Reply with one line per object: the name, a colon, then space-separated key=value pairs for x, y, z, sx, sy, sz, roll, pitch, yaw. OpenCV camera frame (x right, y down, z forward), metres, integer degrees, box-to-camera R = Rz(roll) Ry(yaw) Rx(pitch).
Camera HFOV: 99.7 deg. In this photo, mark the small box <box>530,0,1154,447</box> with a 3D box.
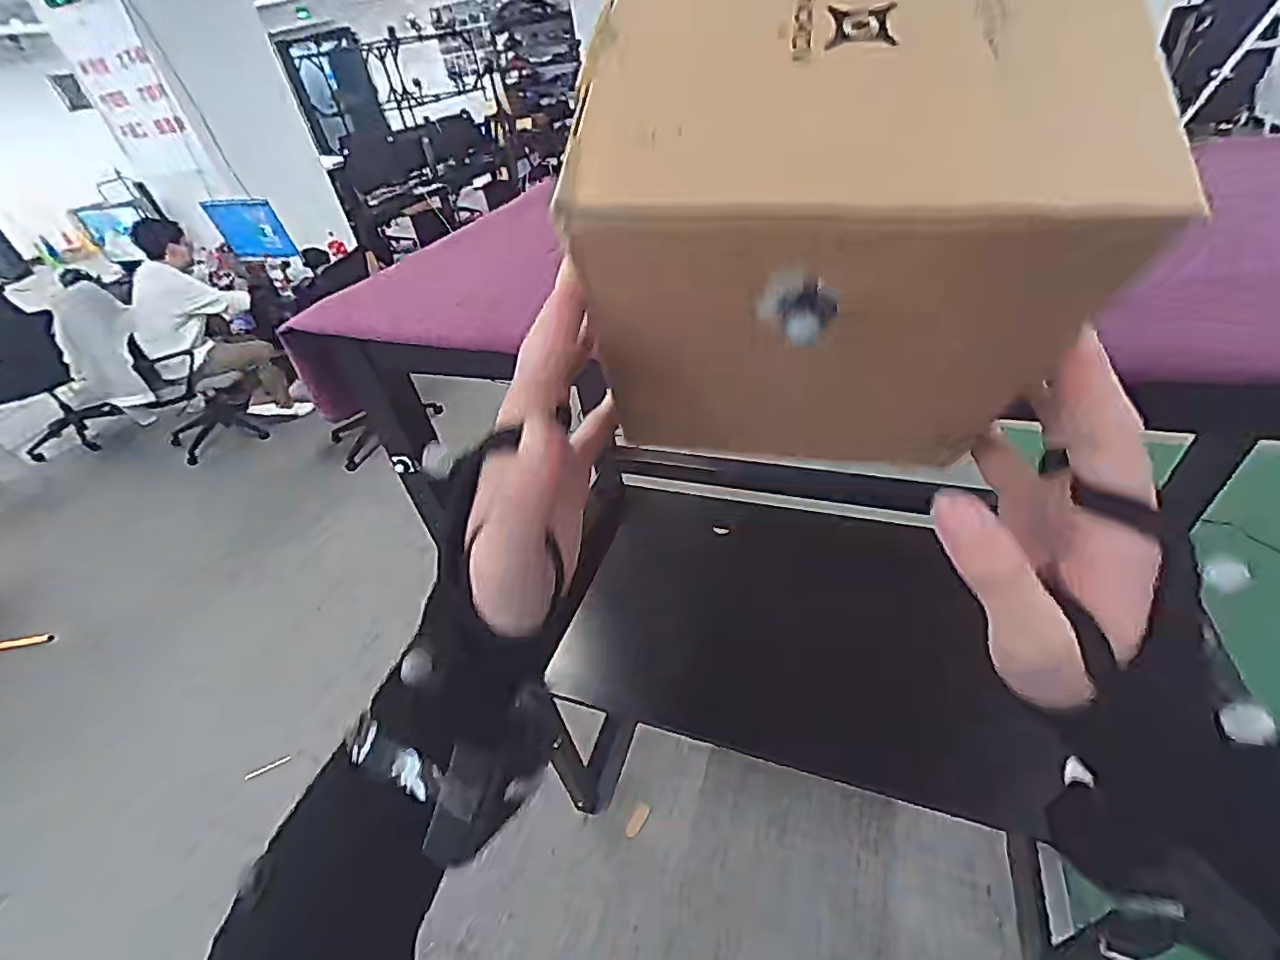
small box: x=0.073 y=-0.127 z=0.258 sx=0.179 sy=0.176 sz=0.168 roll=6 pitch=68 yaw=10
